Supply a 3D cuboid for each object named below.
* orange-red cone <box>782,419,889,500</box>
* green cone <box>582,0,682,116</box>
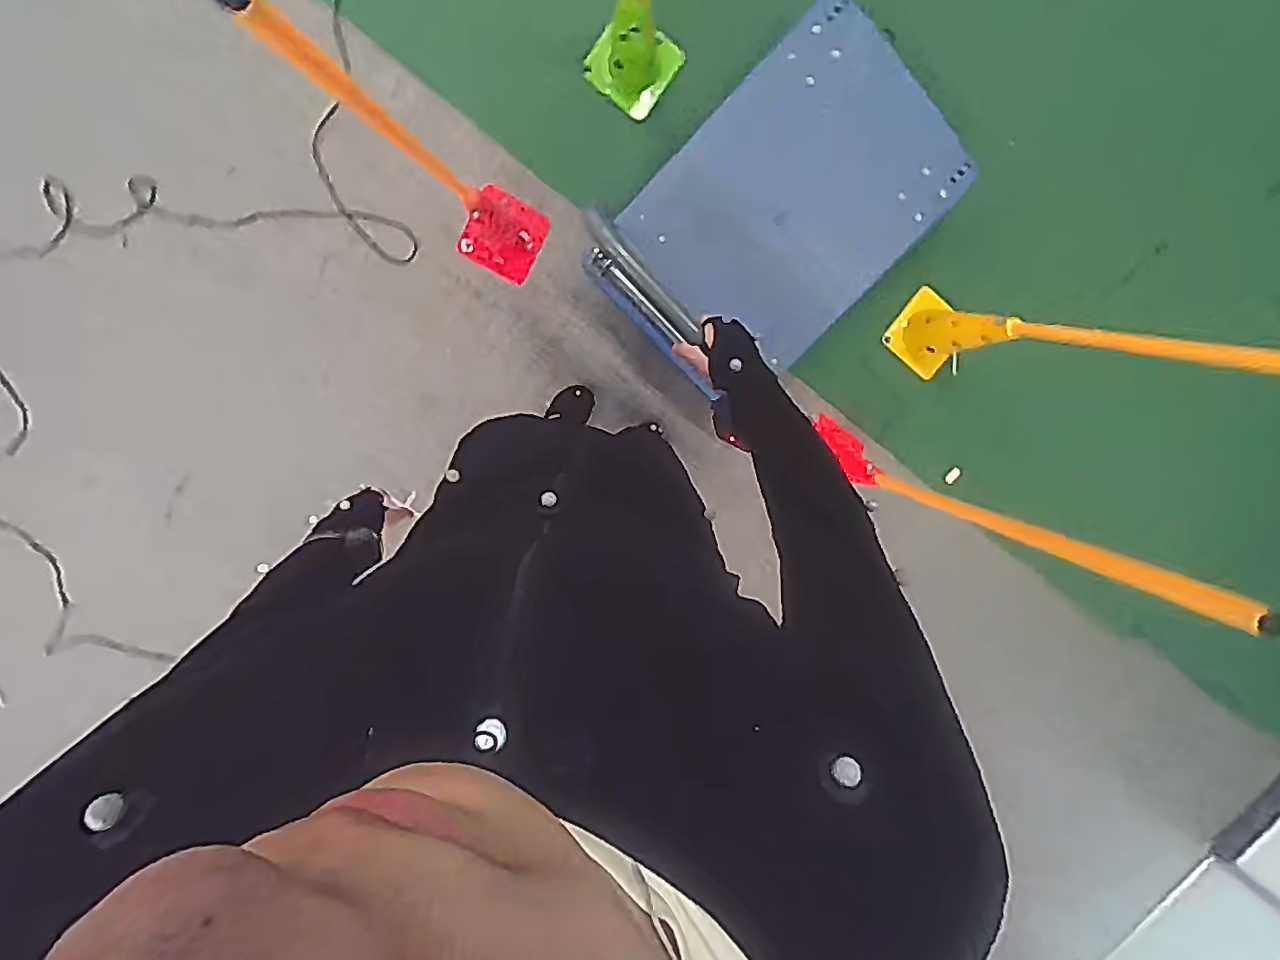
[{"bbox_3d":[0.566,-0.028,1.467,0.198,0.360,0.199,36,96,-11],"label":"orange-red cone"},{"bbox_3d":[-0.011,-1.036,1.210,0.200,0.368,0.202,36,97,-9],"label":"green cone"}]
